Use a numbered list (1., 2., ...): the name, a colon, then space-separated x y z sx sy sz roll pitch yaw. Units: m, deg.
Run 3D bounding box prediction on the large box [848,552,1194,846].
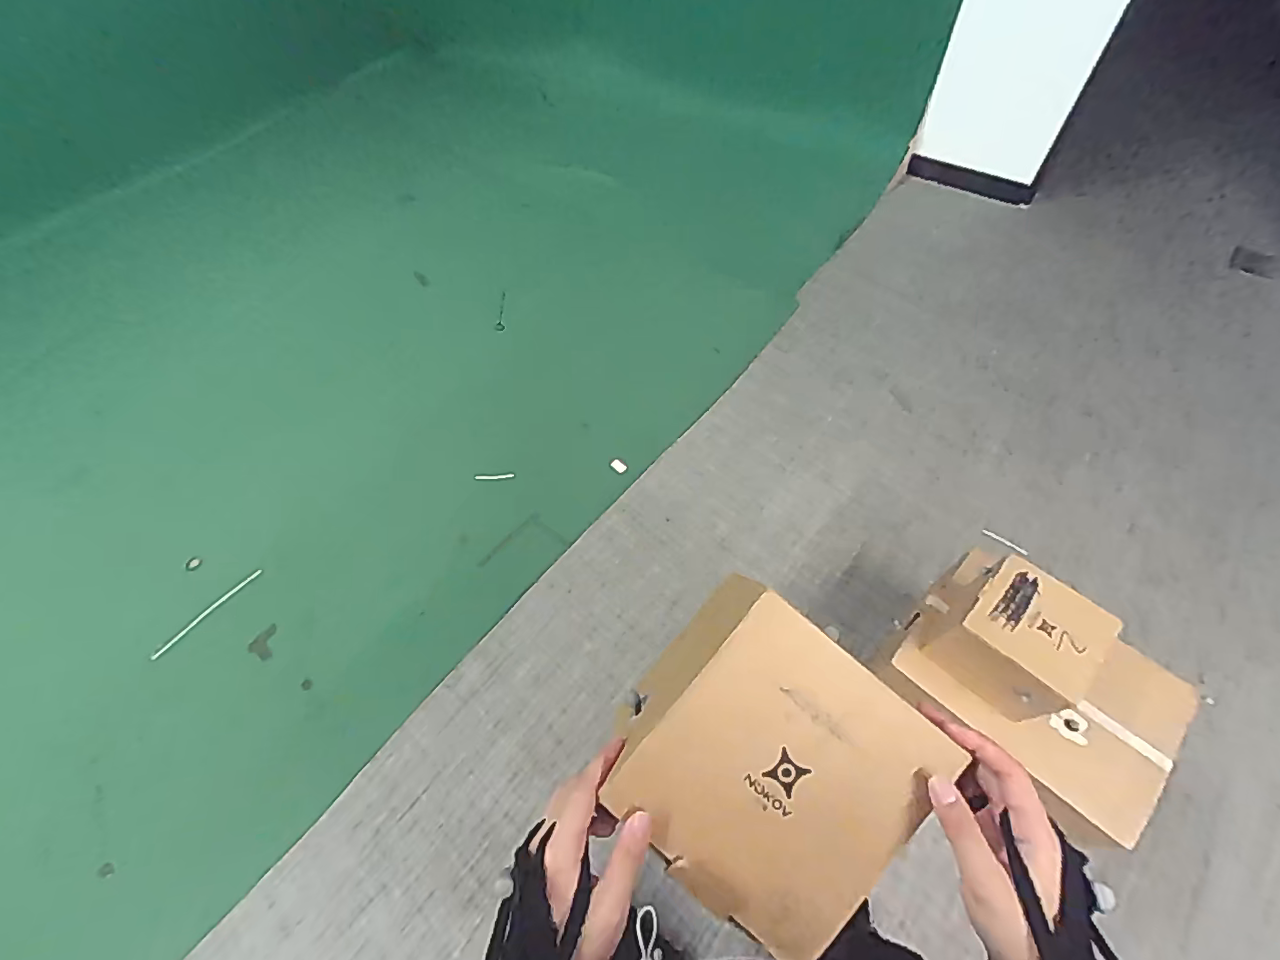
1. large box: 0.701 0.422 1.067 0.408 0.320 0.320 39 69 23
